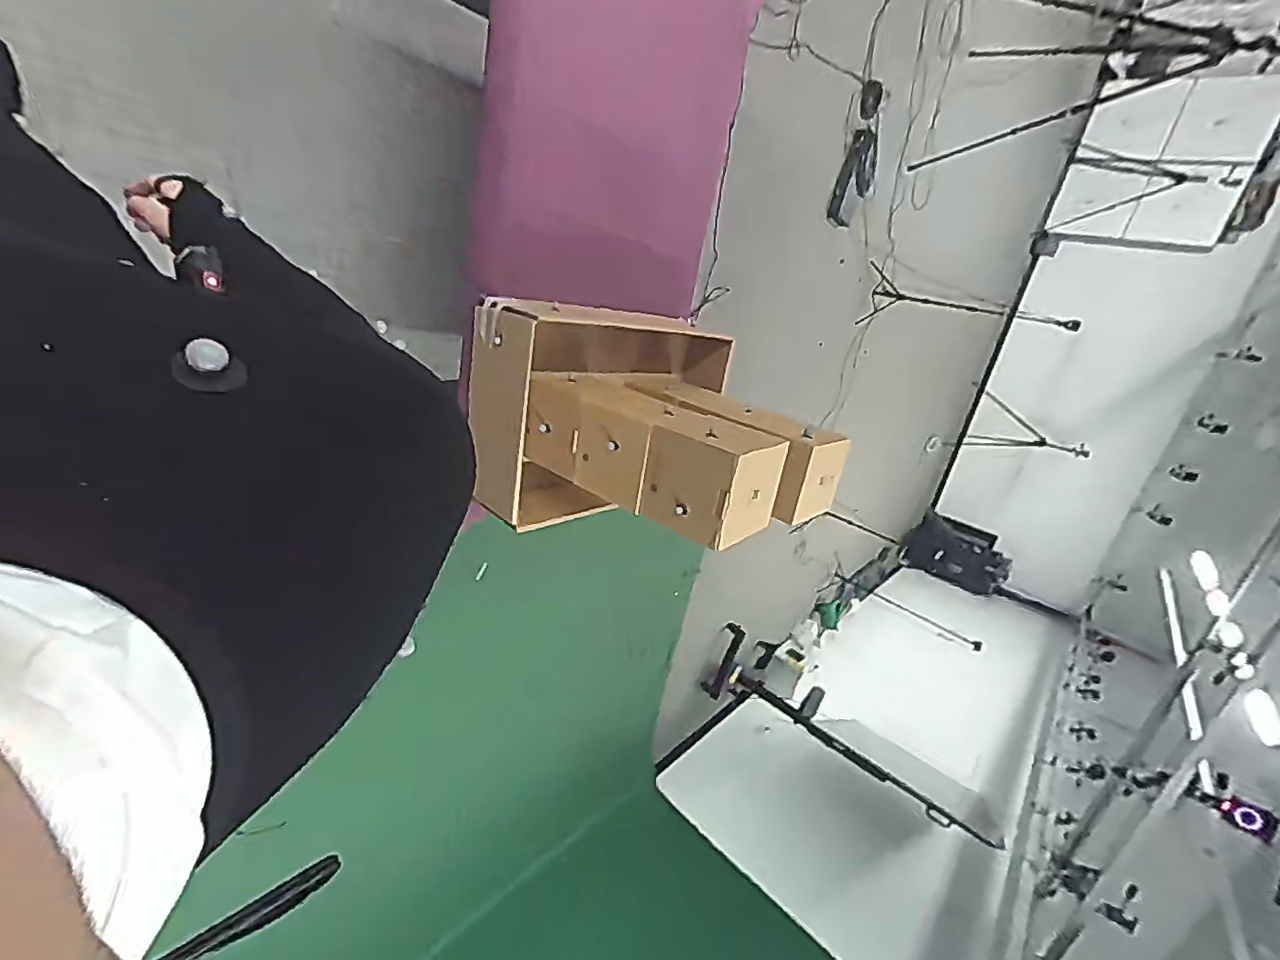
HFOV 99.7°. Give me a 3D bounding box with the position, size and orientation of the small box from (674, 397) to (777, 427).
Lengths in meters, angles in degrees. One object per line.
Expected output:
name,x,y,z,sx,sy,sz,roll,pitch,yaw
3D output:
small box,0.180,-0.089,1.228,0.179,0.176,0.168,-13,120,-45

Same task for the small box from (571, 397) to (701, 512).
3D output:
small box,-0.009,-0.057,1.019,0.179,0.176,0.168,-15,121,-49

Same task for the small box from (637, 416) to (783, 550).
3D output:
small box,0.116,-0.005,0.928,0.179,0.176,0.168,-17,124,-49

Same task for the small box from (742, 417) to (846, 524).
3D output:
small box,0.296,-0.028,1.127,0.179,0.176,0.168,-12,120,-46
